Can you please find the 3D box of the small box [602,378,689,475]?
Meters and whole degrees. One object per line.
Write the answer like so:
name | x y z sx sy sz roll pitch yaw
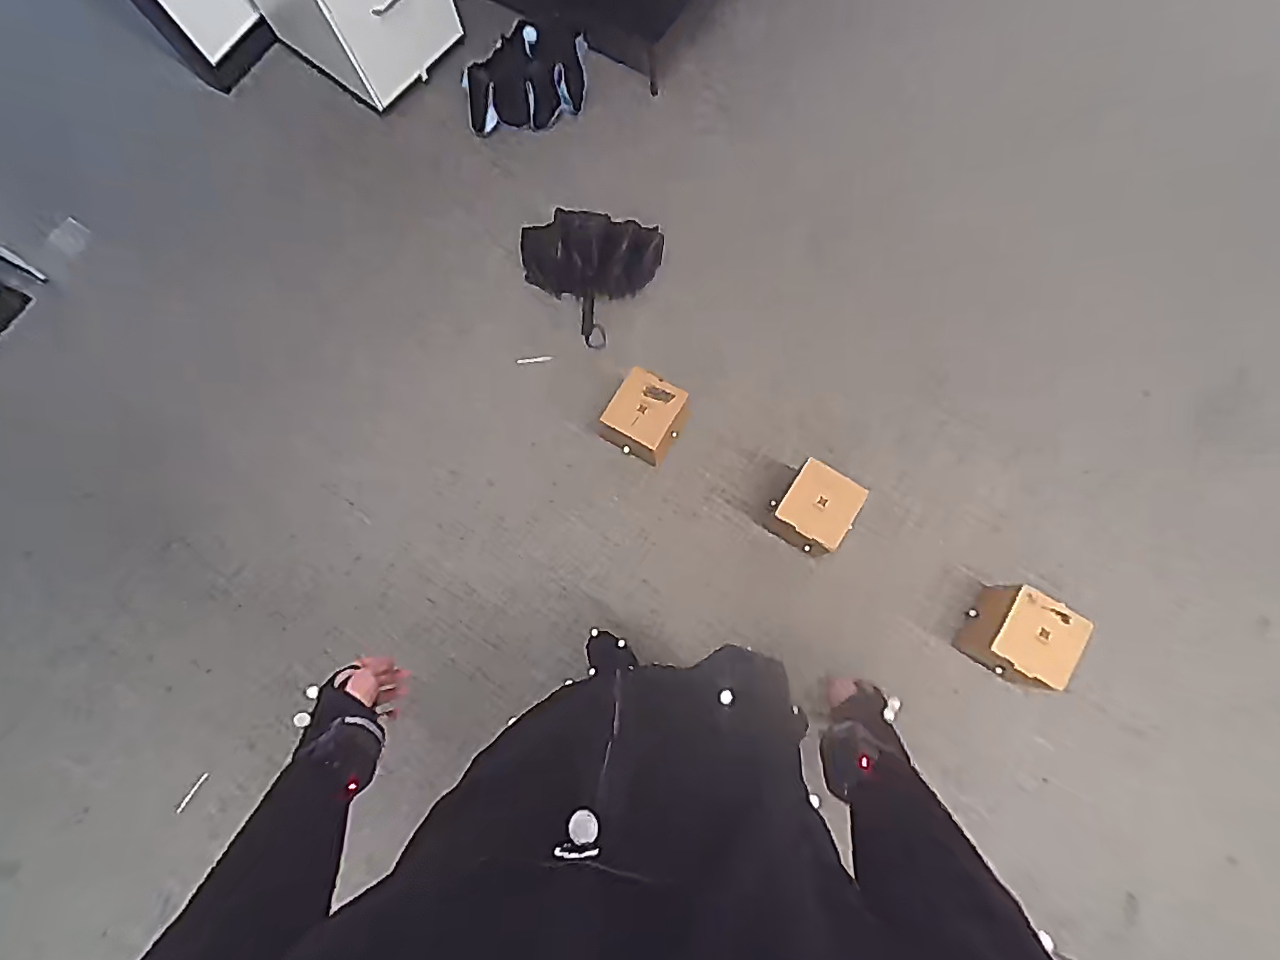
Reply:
small box | 0.018 -0.138 1.454 0.168 0.176 0.179 29 80 11

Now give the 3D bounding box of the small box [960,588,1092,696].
small box | 0.895 0.377 1.275 0.168 0.176 0.179 32 80 11

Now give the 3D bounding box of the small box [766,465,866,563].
small box | 0.438 0.094 1.375 0.168 0.176 0.179 31 78 9
